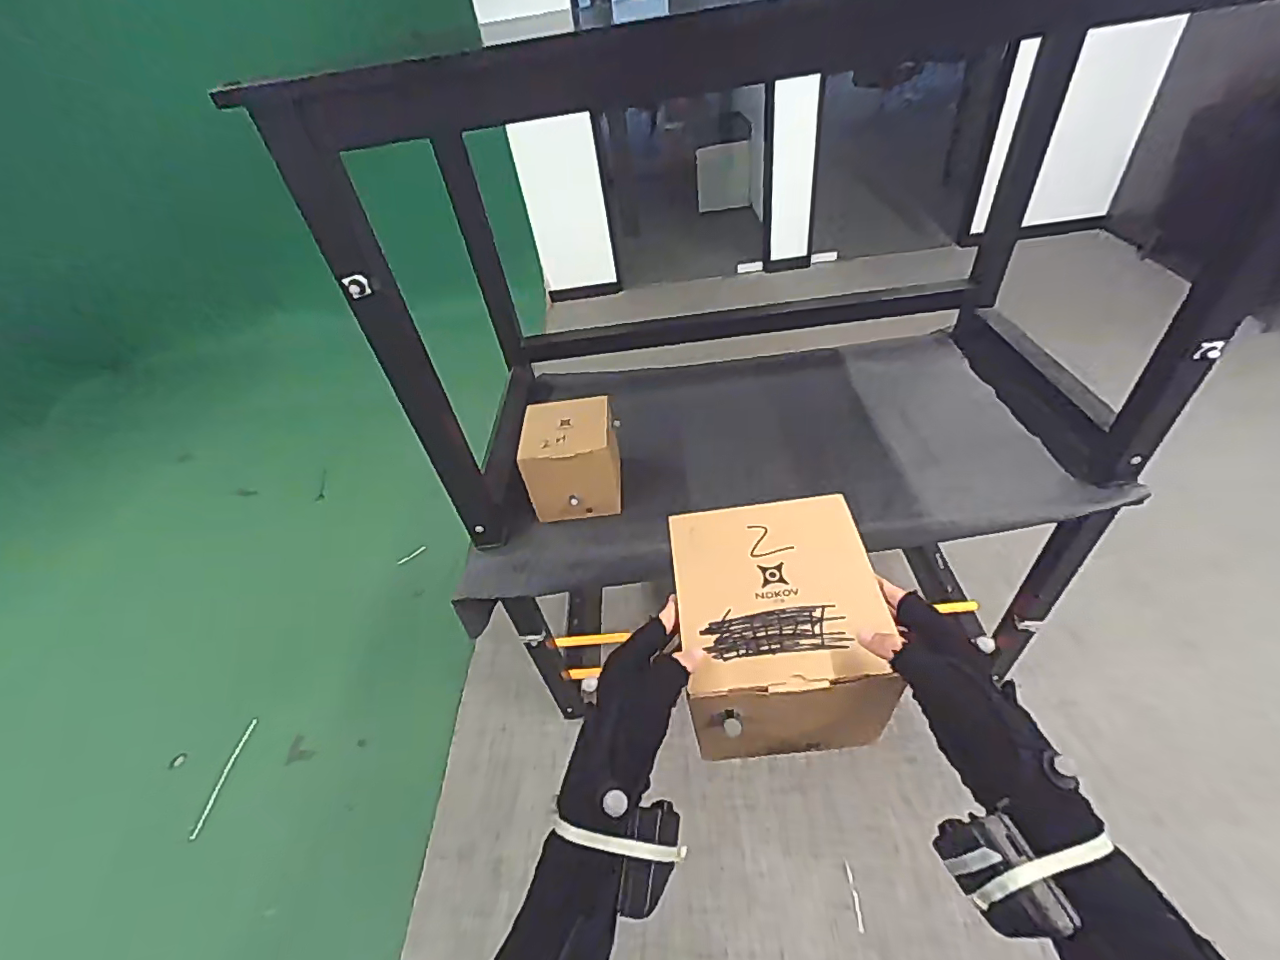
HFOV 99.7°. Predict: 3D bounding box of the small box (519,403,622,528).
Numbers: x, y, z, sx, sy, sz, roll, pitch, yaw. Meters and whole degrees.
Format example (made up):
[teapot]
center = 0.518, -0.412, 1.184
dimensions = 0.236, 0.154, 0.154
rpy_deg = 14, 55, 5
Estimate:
[small box]
center = -0.129, -0.029, 1.075
dimensions = 0.168, 0.176, 0.179
rpy_deg = -7, 42, 4
